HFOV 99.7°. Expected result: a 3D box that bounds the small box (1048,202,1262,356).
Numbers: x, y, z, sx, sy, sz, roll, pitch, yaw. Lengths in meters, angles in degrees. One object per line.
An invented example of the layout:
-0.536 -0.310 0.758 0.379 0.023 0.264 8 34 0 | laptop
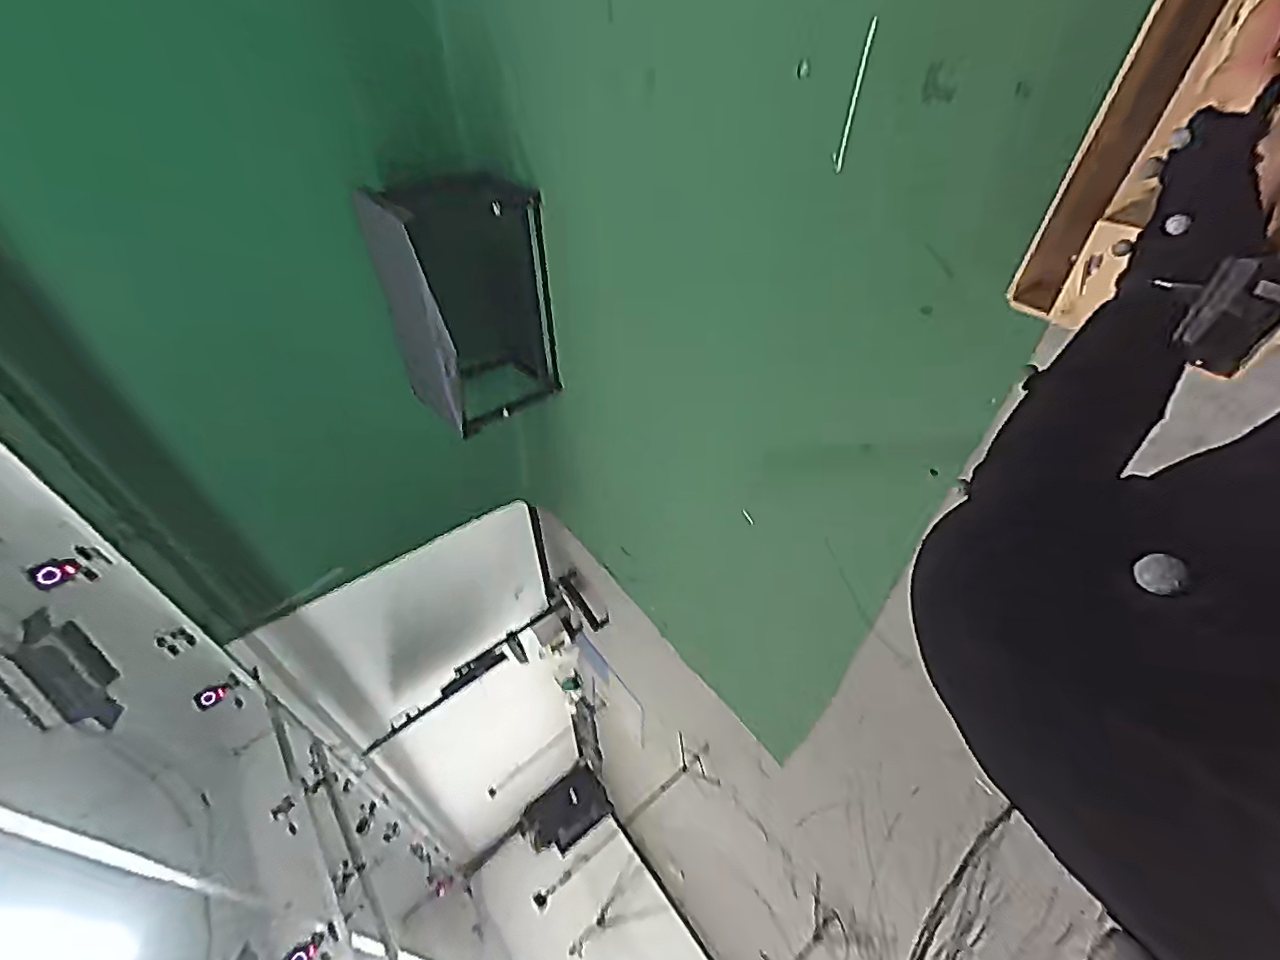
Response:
0.813 -0.327 0.860 0.179 0.176 0.168 38 145 35 | small box

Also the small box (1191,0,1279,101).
0.931 -0.625 0.736 0.179 0.176 0.168 38 146 34 | small box
